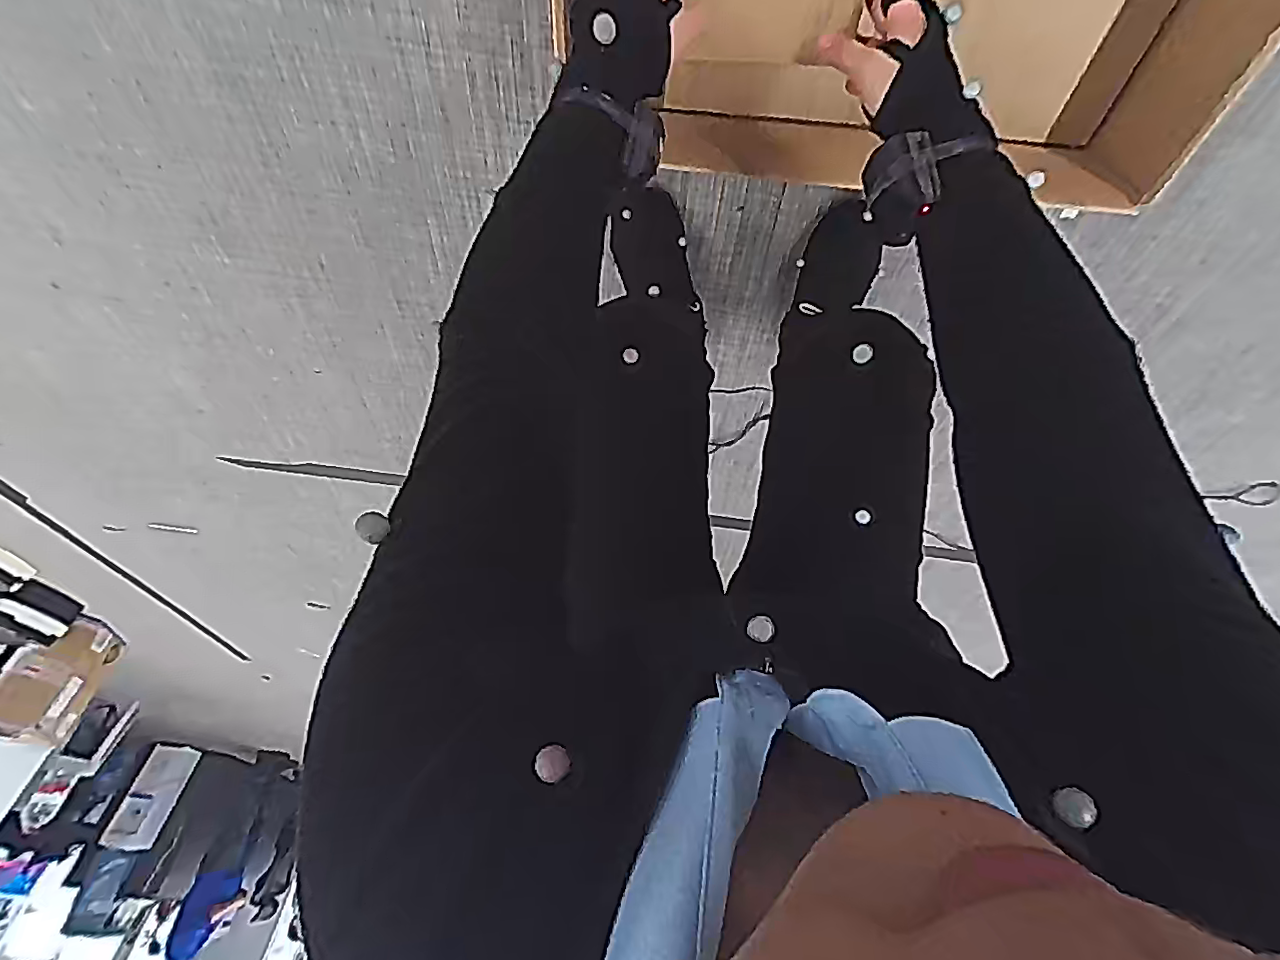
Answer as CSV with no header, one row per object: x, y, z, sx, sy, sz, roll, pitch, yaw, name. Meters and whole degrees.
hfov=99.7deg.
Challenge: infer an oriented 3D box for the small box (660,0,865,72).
0.109,-0.479,0.454,0.168,0.176,0.179,5,142,2,small box
